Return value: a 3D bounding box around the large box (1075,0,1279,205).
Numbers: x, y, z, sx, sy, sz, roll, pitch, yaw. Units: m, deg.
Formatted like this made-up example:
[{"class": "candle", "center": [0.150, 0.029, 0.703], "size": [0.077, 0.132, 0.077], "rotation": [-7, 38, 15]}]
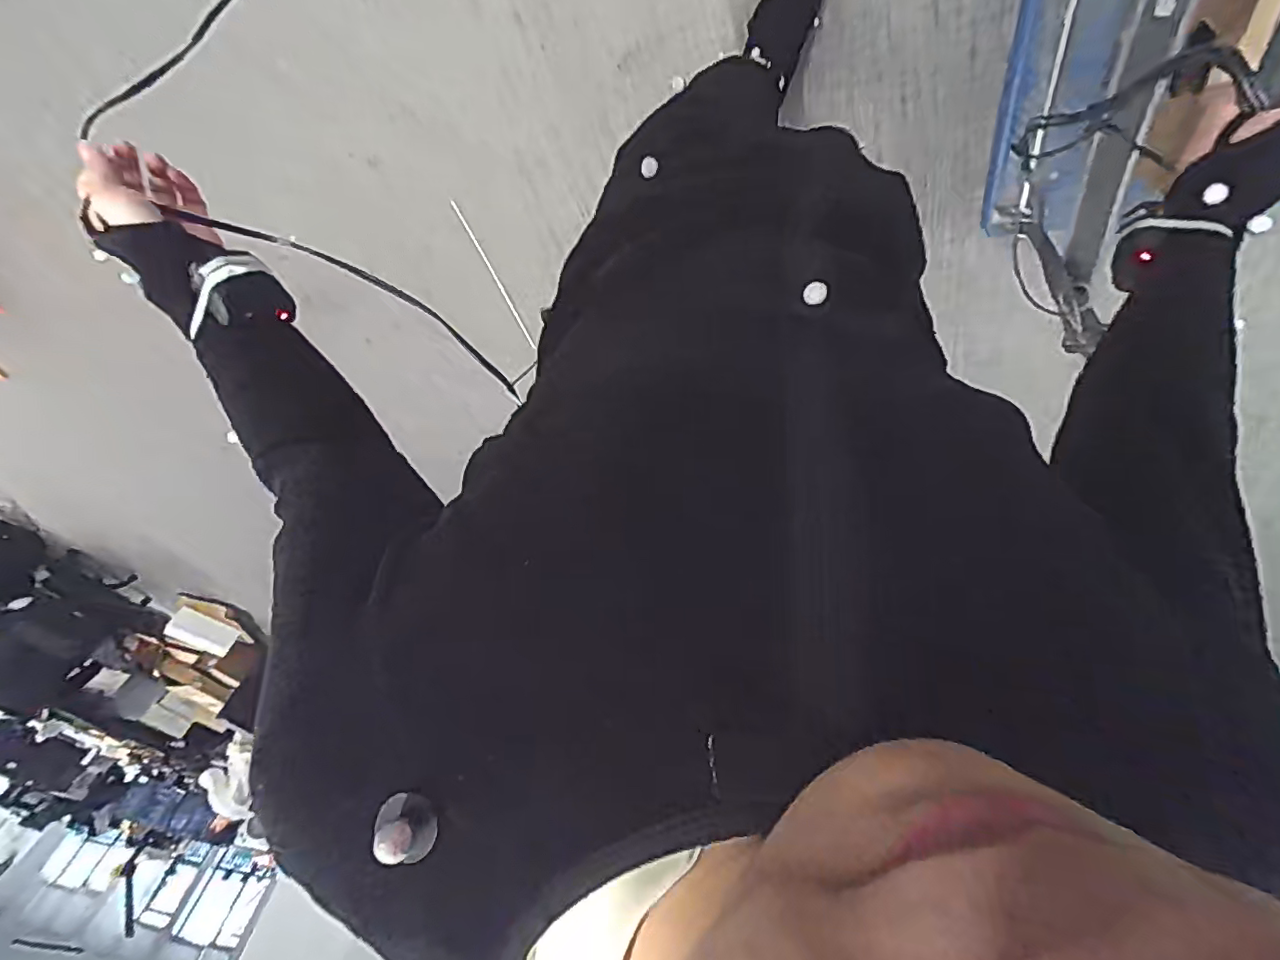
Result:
[{"class": "large box", "center": [0.964, -0.636, 0.781], "size": [0.408, 0.320, 0.320], "rotation": [0, 135, 14]}]
